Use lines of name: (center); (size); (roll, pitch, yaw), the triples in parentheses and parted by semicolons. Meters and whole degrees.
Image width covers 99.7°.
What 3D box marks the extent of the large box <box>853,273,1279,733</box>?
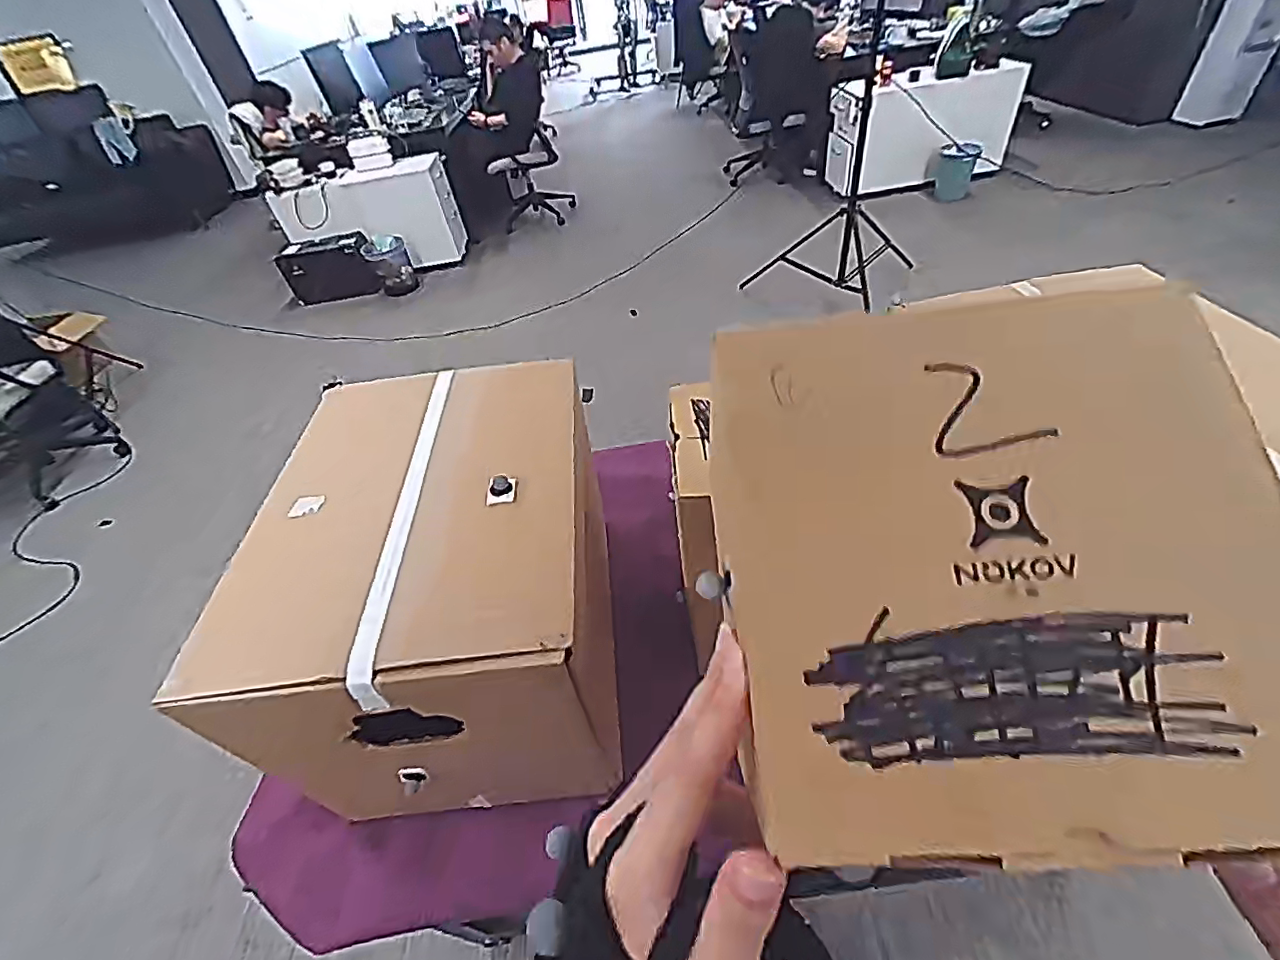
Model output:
large box: (0.488, 0.011, 0.625); (0.320, 0.320, 0.408); (-9, 42, 1)
